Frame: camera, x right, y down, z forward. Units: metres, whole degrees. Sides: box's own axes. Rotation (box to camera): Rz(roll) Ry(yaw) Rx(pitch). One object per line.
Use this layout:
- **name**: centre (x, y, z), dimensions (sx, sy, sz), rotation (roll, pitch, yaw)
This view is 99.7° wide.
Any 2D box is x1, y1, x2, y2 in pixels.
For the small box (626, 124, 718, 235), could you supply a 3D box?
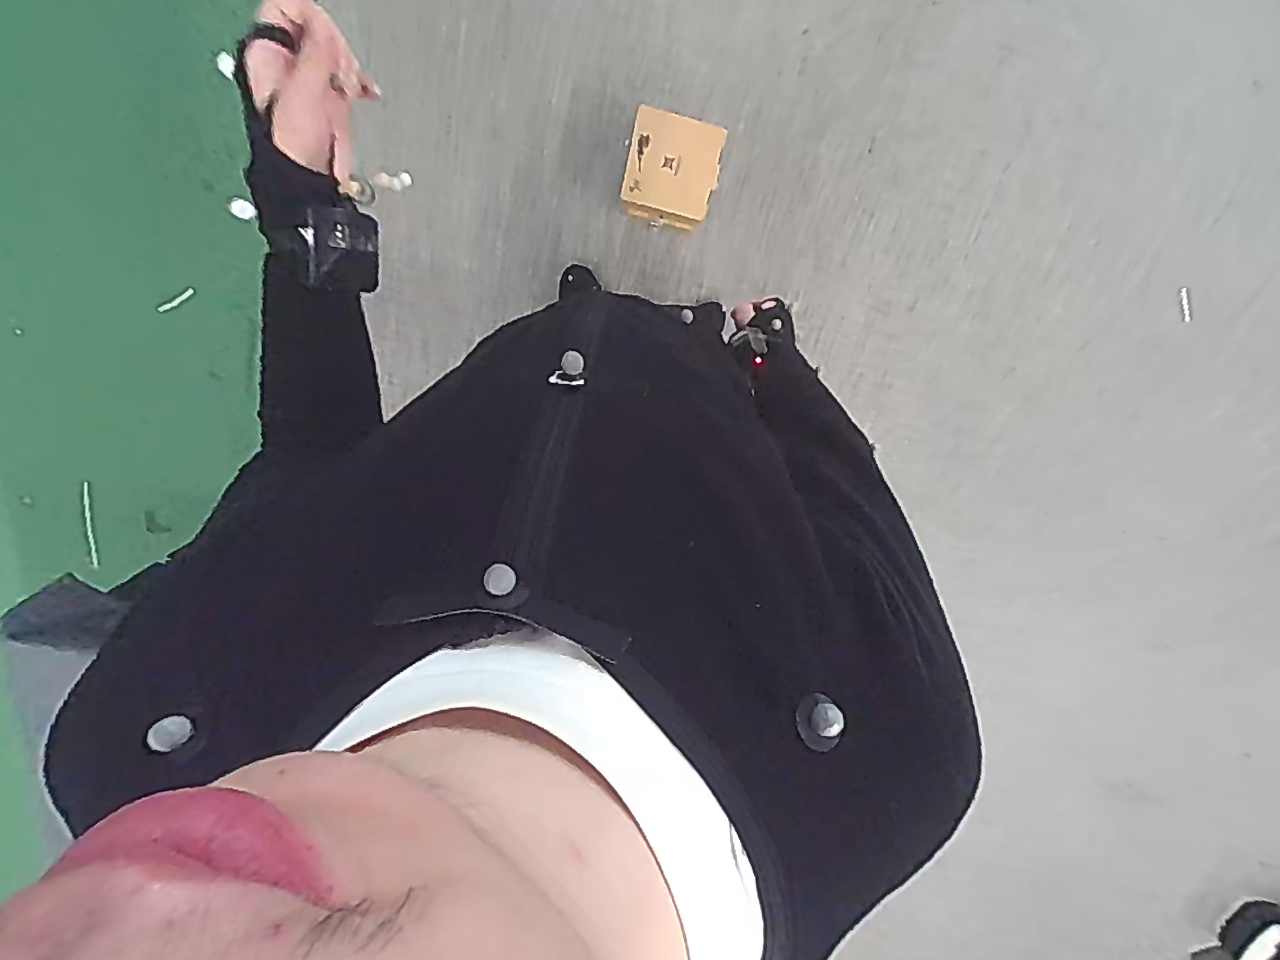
- **small box**: centre (0.070, -0.690, 1.263), dimensions (0.168, 0.176, 0.179), rotation (16, 111, -4)
